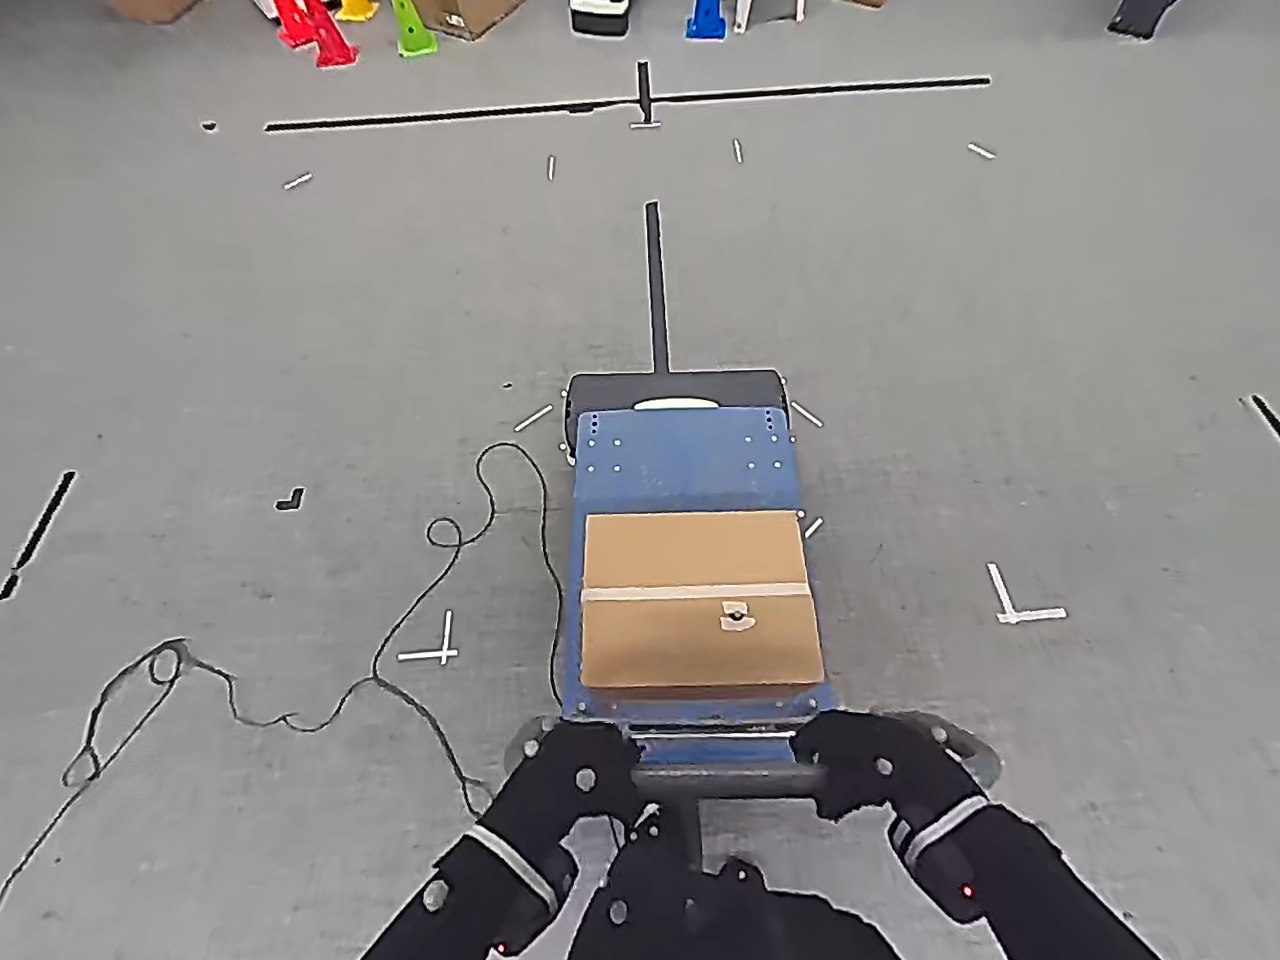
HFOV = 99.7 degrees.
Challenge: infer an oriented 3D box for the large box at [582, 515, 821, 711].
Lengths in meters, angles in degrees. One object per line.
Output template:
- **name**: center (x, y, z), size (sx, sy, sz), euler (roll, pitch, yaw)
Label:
- **large box**: center (0.097, 0.278, 1.087), size (0.408, 0.320, 0.320), euler (-2, 63, 0)
